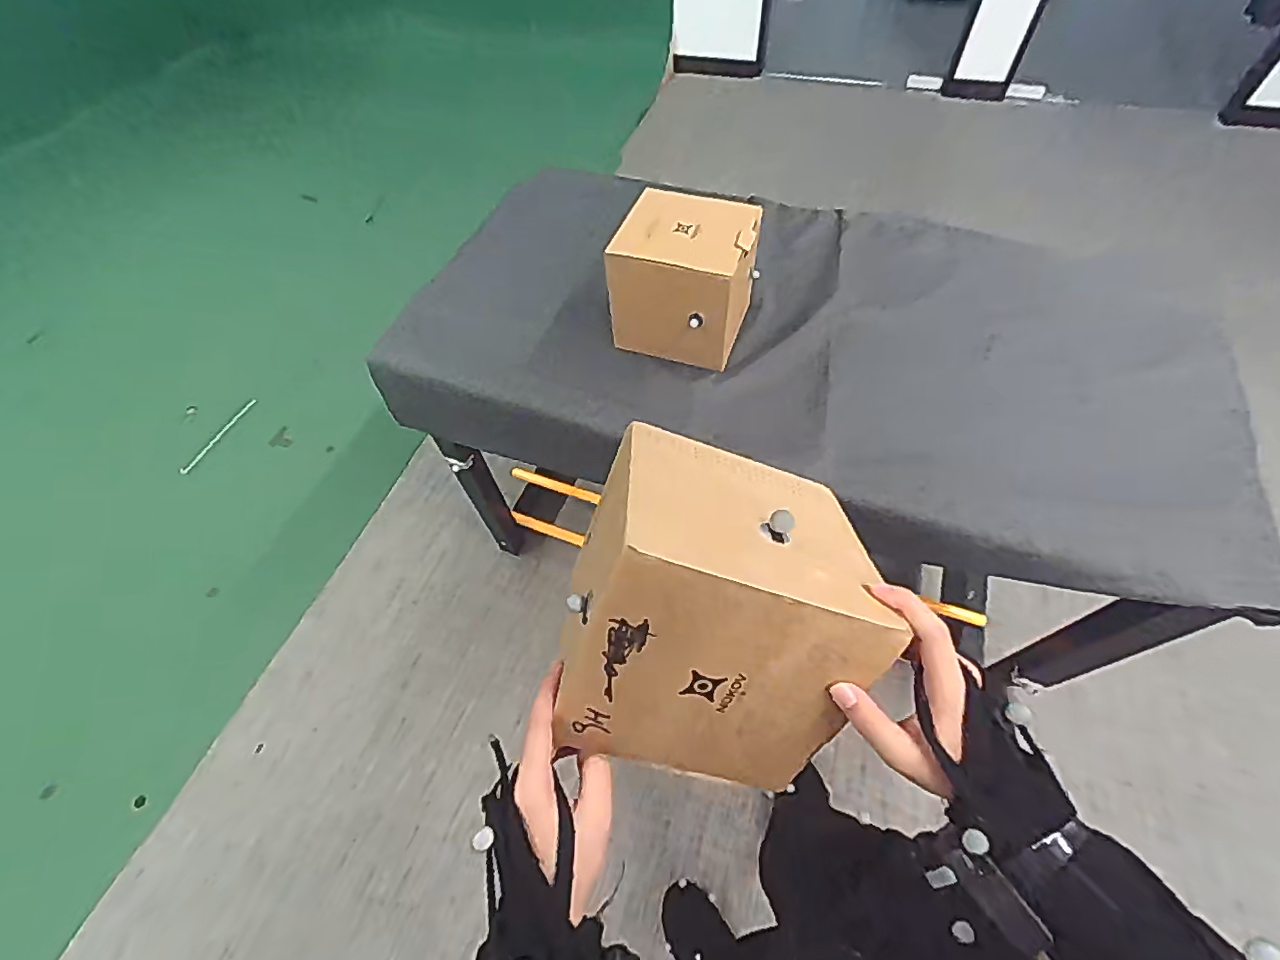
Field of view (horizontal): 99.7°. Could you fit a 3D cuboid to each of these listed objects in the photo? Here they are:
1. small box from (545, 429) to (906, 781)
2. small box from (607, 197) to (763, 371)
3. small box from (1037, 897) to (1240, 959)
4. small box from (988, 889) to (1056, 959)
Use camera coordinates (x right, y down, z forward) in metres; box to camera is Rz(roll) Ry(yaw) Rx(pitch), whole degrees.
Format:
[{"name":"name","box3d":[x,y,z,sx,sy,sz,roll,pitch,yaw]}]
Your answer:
[{"name":"small box","box3d":[0.046,0.082,0.400,0.179,0.168,0.176,18,28,-10]},{"name":"small box","box3d":[0.067,-0.284,0.800,0.179,0.176,0.168,15,57,14]},{"name":"small box","box3d":[0.699,0.725,0.769,0.179,0.176,0.168,16,59,13]},{"name":"small box","box3d":[0.720,0.816,0.904,0.179,0.176,0.168,17,59,14]}]
